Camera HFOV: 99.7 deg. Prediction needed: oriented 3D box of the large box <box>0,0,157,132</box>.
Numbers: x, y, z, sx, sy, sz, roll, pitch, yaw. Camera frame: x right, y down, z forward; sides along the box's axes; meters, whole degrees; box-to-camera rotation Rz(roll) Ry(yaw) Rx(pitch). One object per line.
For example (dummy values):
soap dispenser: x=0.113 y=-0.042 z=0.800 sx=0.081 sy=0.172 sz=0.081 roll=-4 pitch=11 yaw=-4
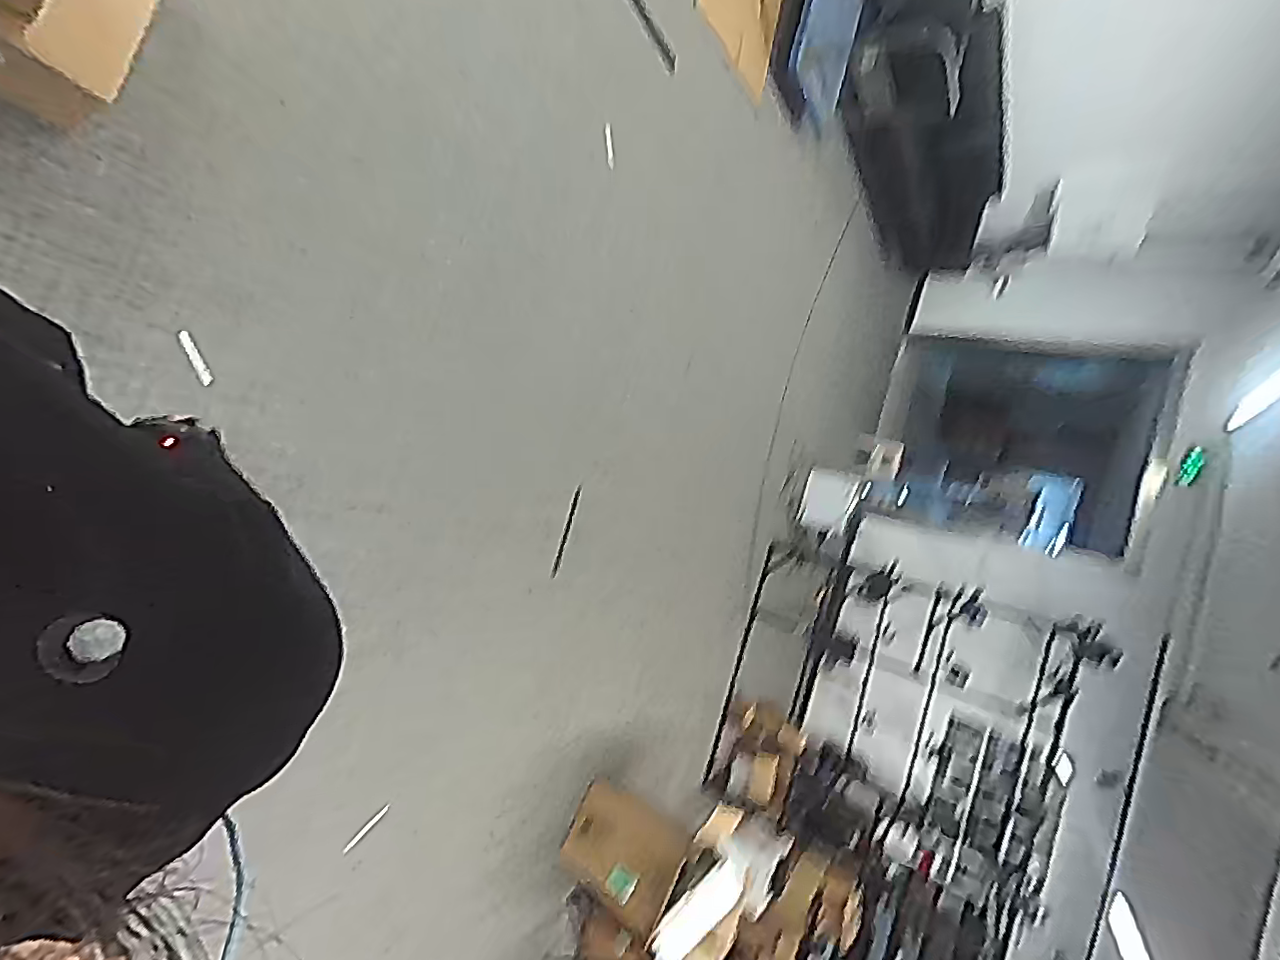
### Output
large box: x=-0.947 y=-0.826 z=0.799 sx=0.320 sy=0.320 sz=0.408 roll=25 pitch=81 yaw=-56
